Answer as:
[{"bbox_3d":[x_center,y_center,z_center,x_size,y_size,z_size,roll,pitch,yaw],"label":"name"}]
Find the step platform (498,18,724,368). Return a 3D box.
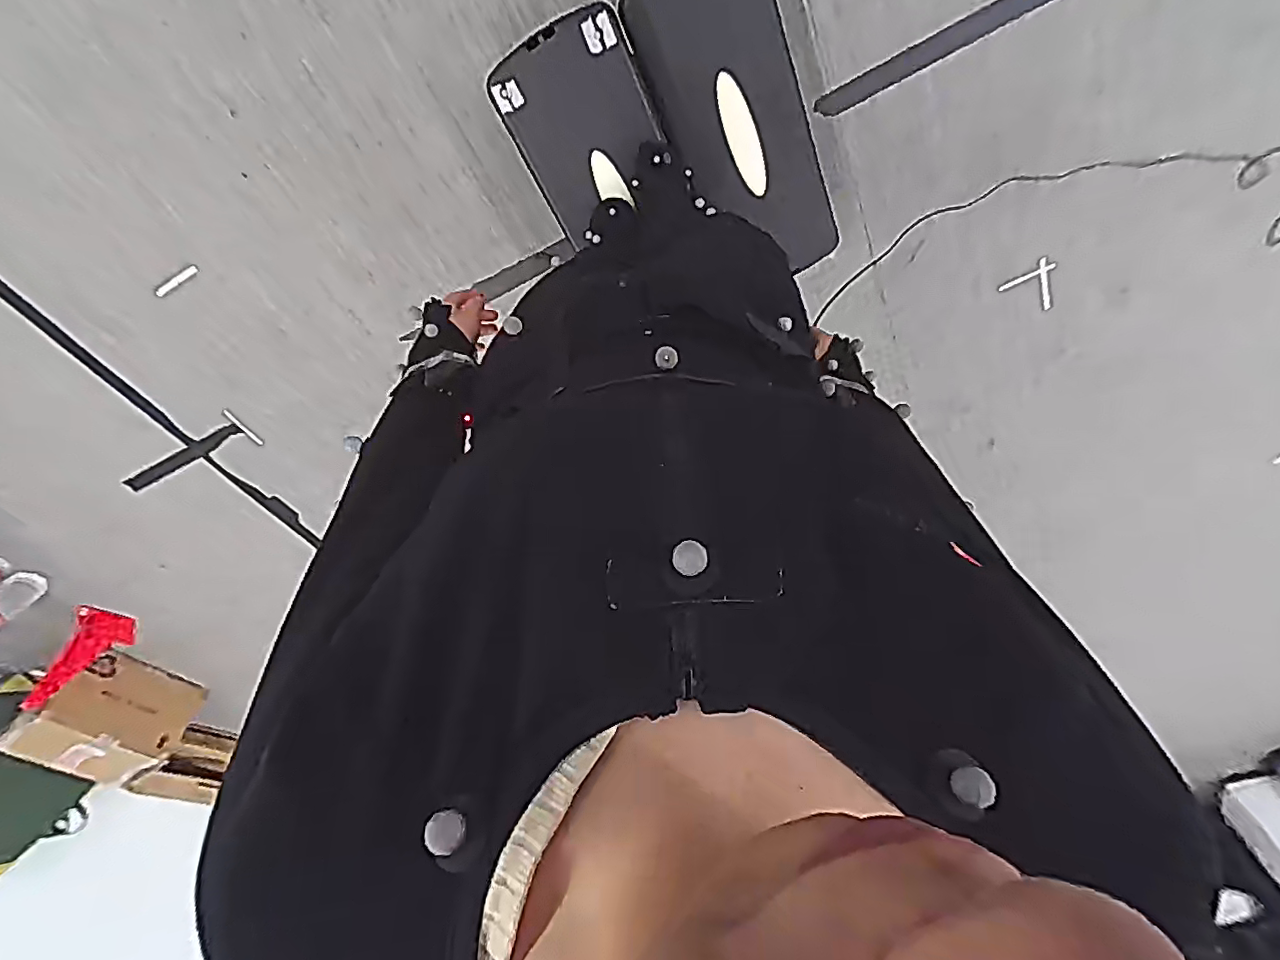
[{"bbox_3d":[-0.038,-0.603,1.236,0.286,0.204,0.684,-20,122,12],"label":"step platform"}]
